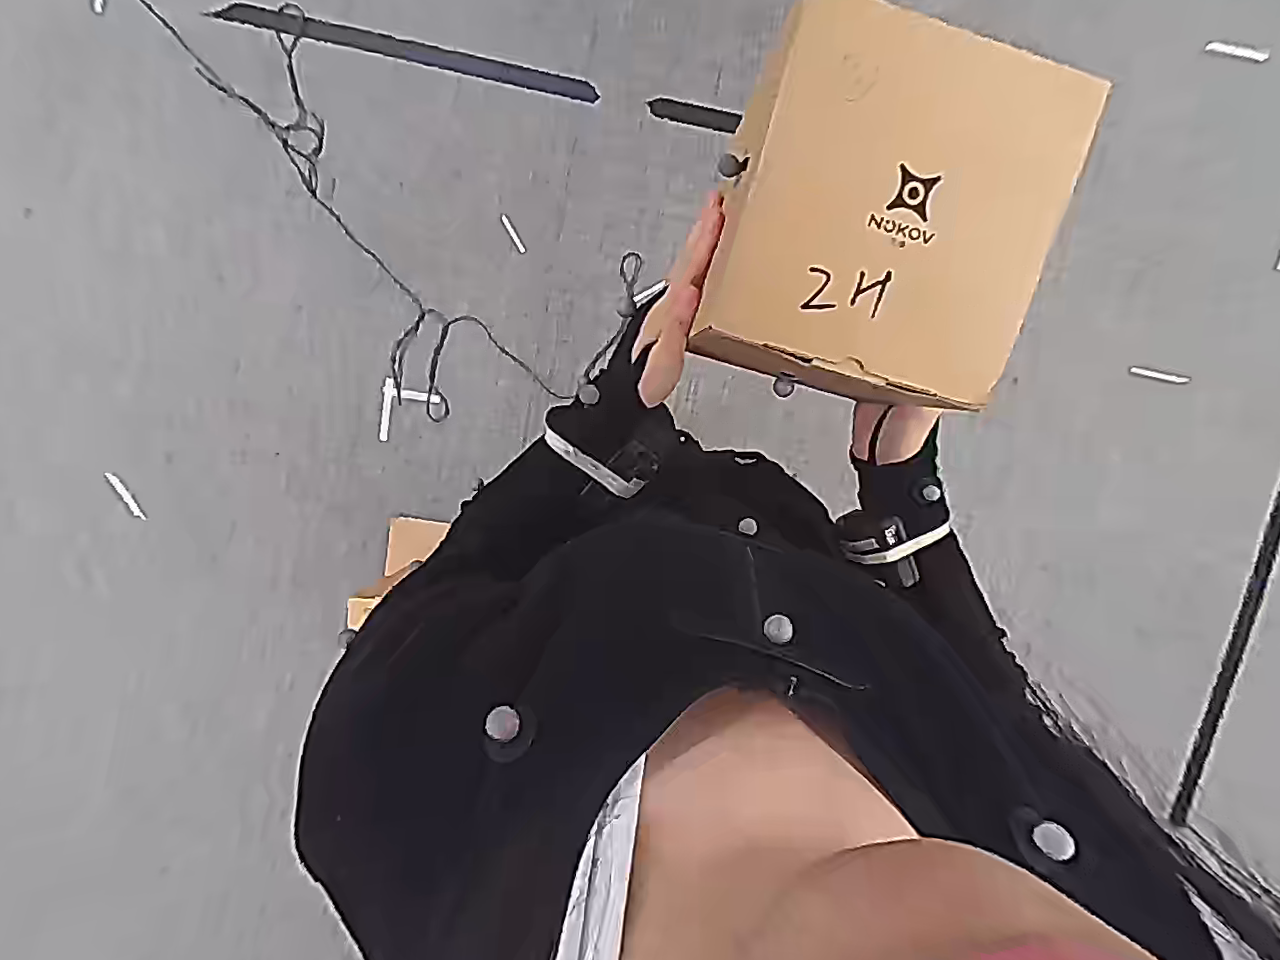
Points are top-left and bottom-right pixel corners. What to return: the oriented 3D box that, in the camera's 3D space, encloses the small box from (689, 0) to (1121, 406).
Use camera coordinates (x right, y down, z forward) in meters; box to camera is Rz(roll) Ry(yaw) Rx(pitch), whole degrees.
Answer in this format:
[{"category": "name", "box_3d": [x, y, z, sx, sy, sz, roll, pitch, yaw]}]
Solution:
[{"category": "small box", "box_3d": [0.138, -0.157, 0.355, 0.168, 0.176, 0.179, 15, 100, -4]}]
